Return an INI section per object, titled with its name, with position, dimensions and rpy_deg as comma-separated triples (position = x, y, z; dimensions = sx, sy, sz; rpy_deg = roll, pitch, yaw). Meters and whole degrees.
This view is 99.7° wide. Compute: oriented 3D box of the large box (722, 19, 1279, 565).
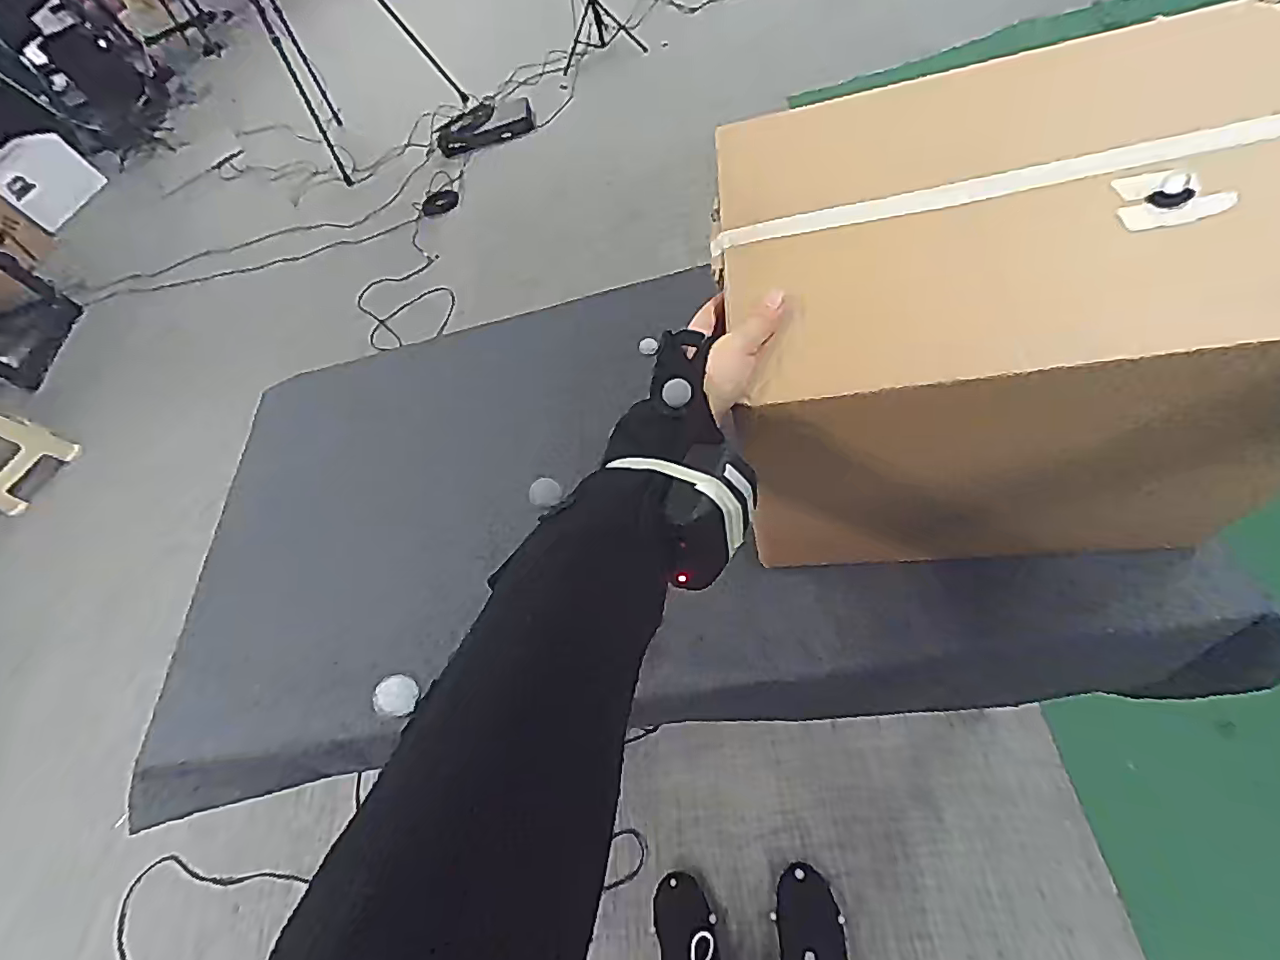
[large box]
position = 0.297, -0.127, 0.503
dimensions = 0.408, 0.320, 0.320
rpy_deg = -5, 61, 12
